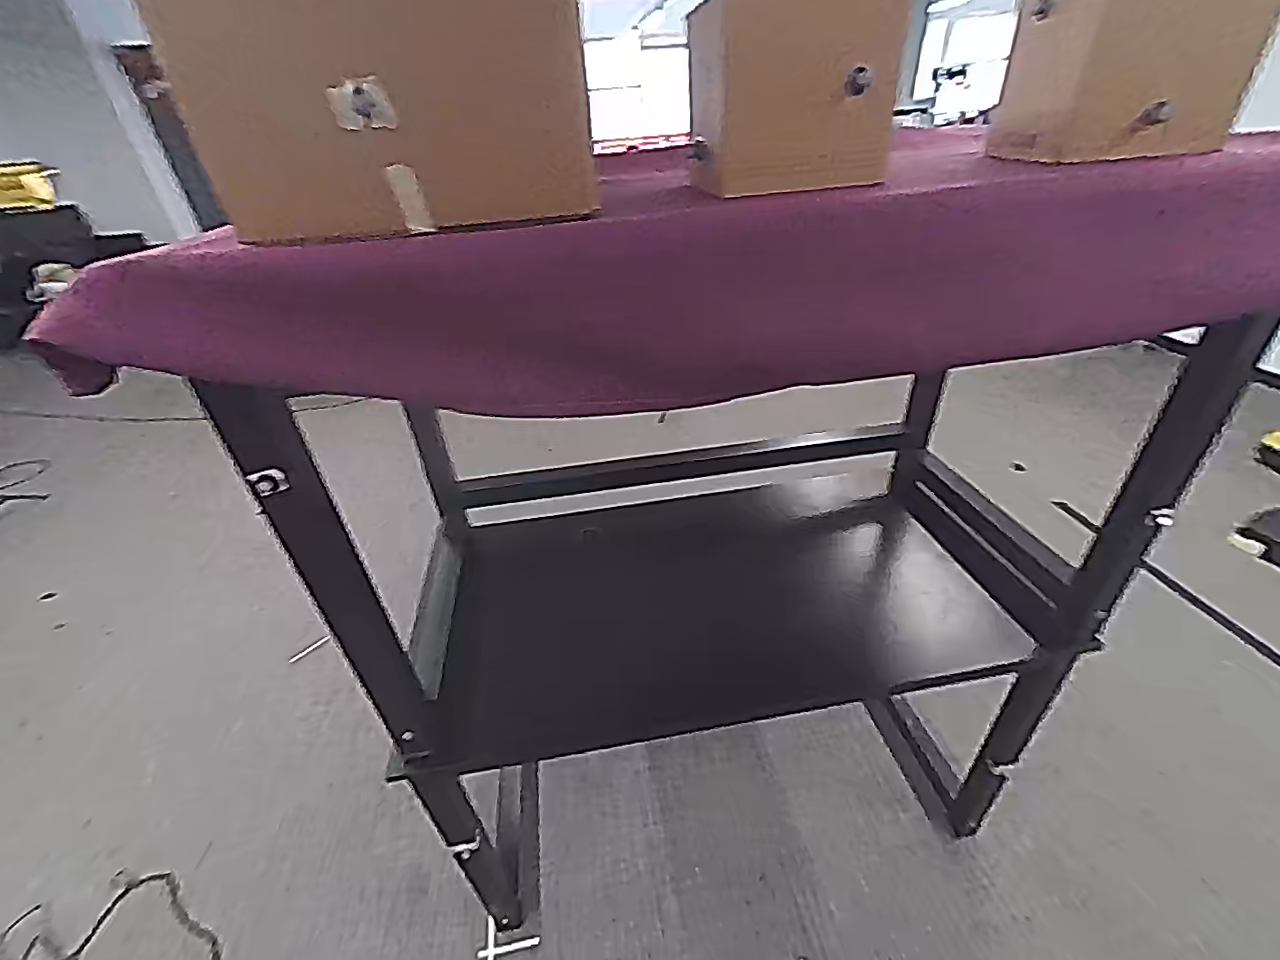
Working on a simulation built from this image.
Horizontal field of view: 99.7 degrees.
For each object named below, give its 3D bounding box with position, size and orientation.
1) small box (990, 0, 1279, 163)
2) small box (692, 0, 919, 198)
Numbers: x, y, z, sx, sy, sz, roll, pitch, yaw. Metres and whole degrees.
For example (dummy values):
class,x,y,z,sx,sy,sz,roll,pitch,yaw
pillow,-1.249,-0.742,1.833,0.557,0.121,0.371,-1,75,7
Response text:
class,x,y,z,sx,sy,sz,roll,pitch,yaw
small box,0.534,-0.459,0.597,0.179,0.176,0.168,-3,33,3
small box,0.155,-0.407,0.571,0.179,0.176,0.168,-8,33,-5
